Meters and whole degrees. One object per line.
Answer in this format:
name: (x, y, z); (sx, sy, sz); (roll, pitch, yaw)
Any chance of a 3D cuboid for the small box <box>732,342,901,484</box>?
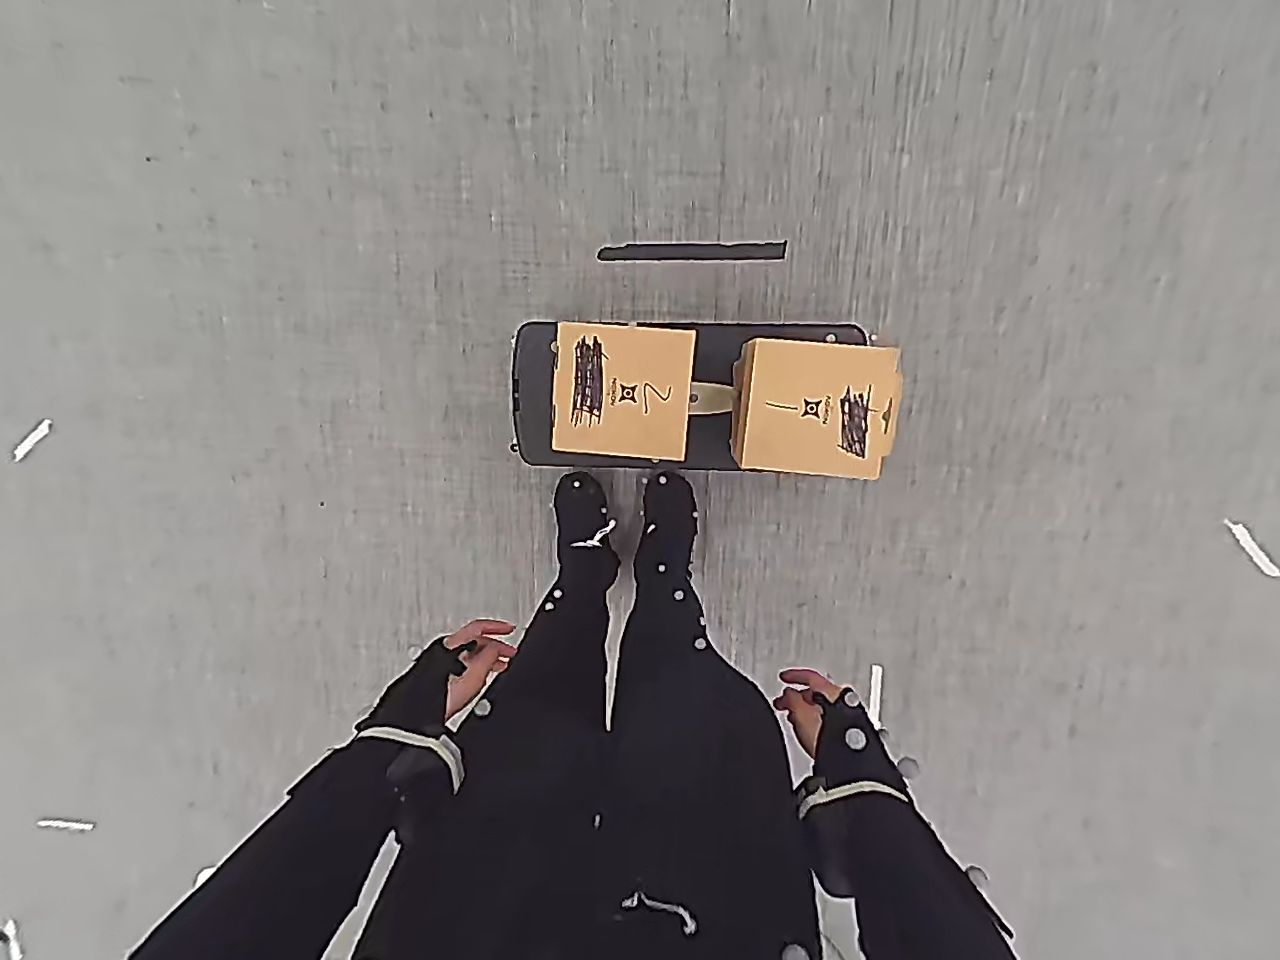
small box: (0.230, -0.098, 0.753); (0.179, 0.176, 0.168); (6, 101, 4)
